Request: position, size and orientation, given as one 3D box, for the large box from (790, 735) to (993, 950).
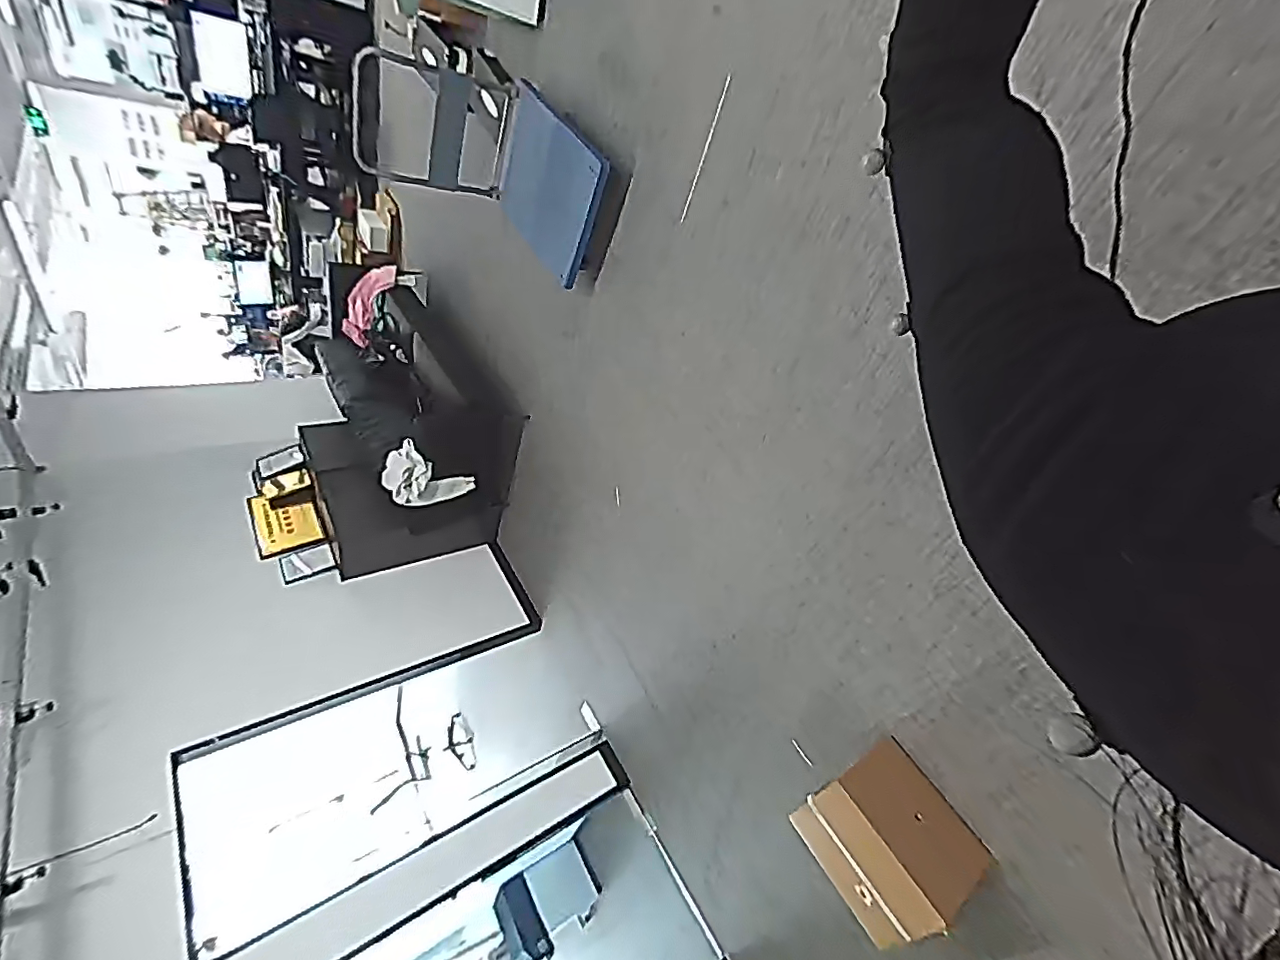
[{"bbox_3d":[0.756,1.090,1.659,0.408,0.320,0.320,50,136,31],"label":"large box"}]
